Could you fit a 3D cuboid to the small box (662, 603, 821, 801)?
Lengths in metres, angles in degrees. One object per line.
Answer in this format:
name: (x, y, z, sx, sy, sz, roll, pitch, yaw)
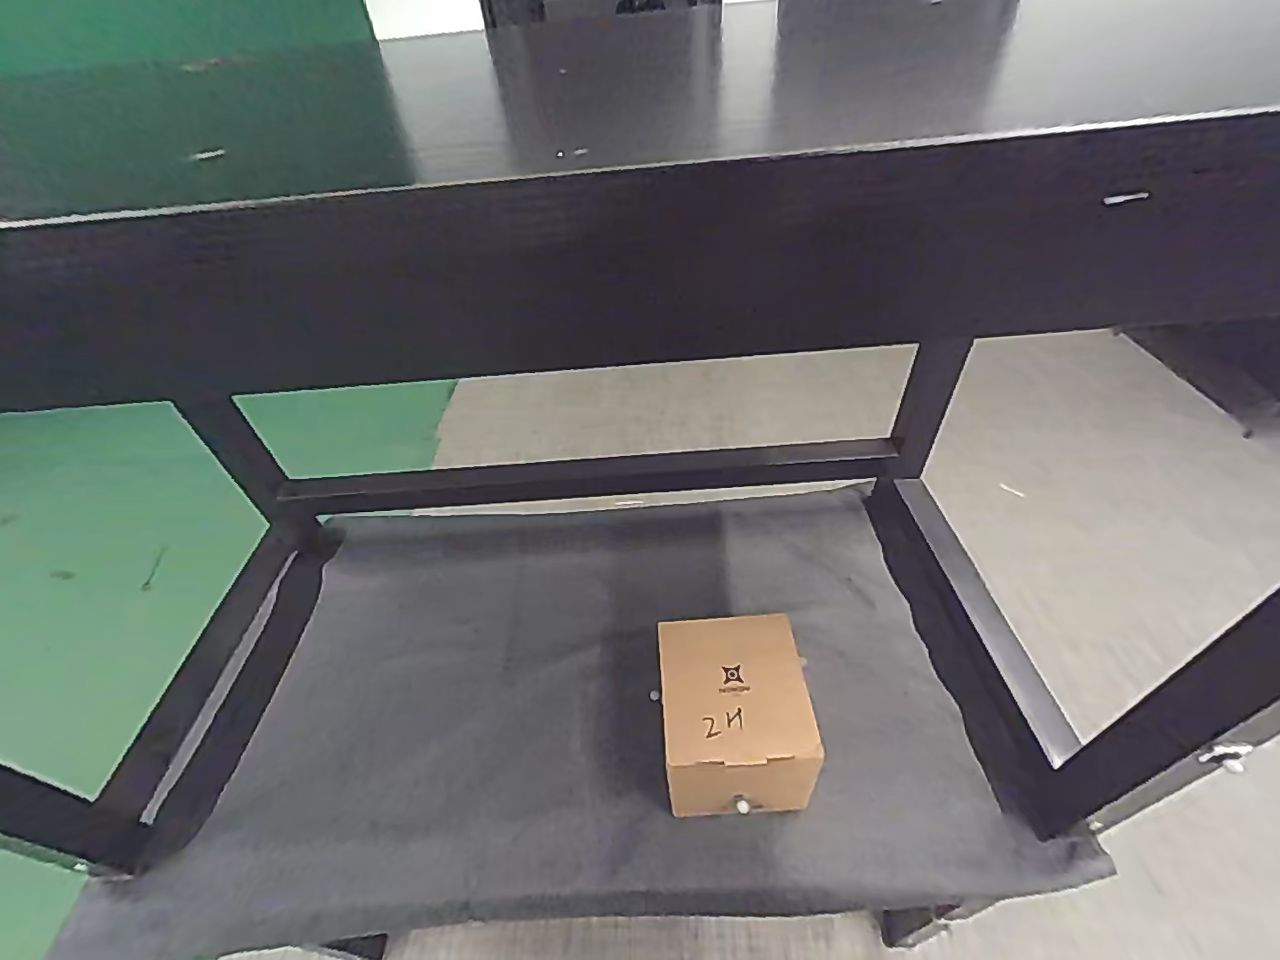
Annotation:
small box: (0.114, 0.278, 0.681, 0.168, 0.176, 0.179, -4, 42, 3)
